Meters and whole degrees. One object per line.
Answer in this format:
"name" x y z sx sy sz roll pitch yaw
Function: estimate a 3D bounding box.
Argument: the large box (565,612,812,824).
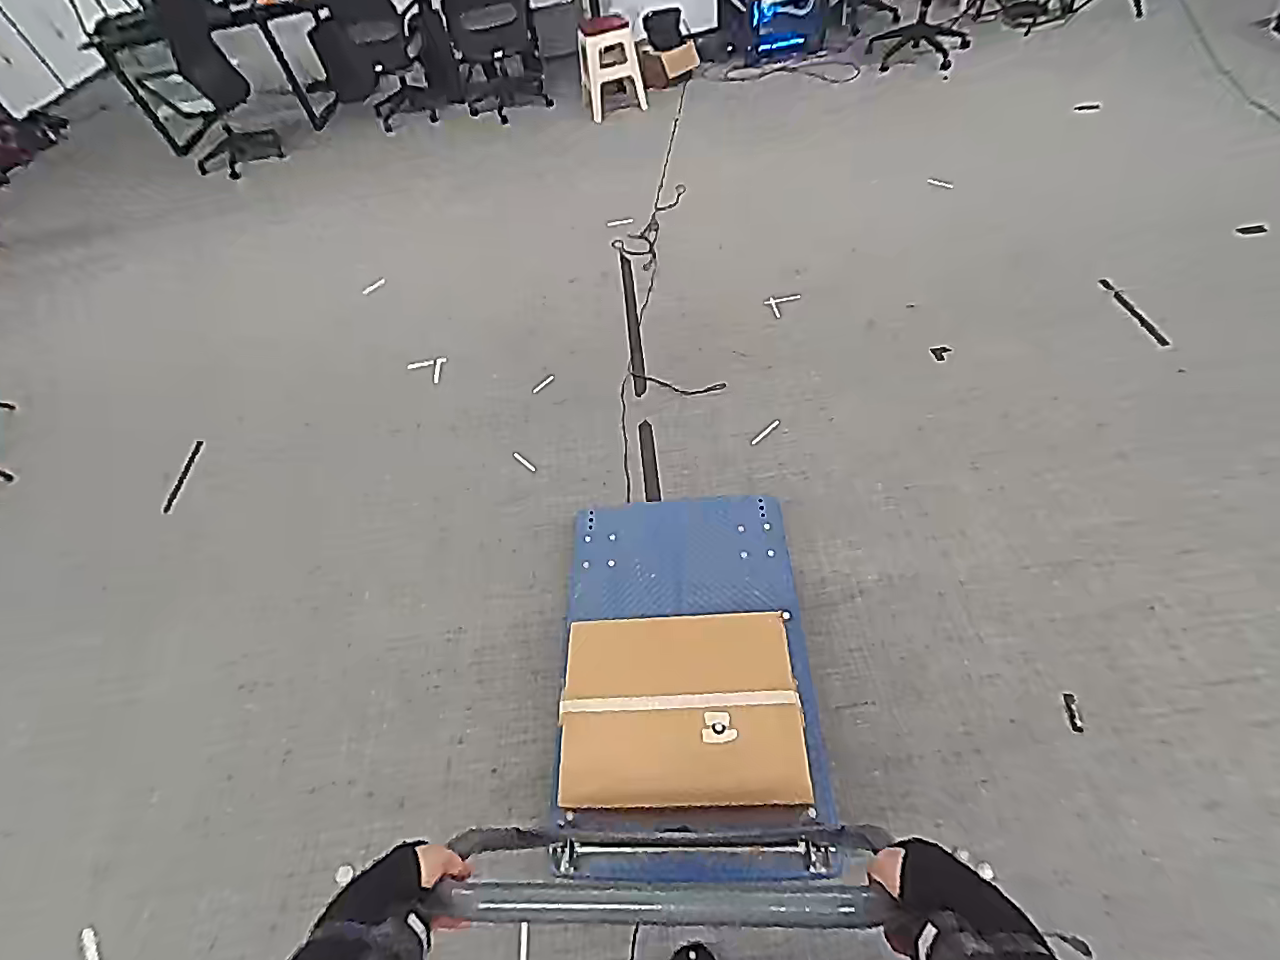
"large box" 0.086 0.477 1.063 0.408 0.320 0.320 -5 54 5
